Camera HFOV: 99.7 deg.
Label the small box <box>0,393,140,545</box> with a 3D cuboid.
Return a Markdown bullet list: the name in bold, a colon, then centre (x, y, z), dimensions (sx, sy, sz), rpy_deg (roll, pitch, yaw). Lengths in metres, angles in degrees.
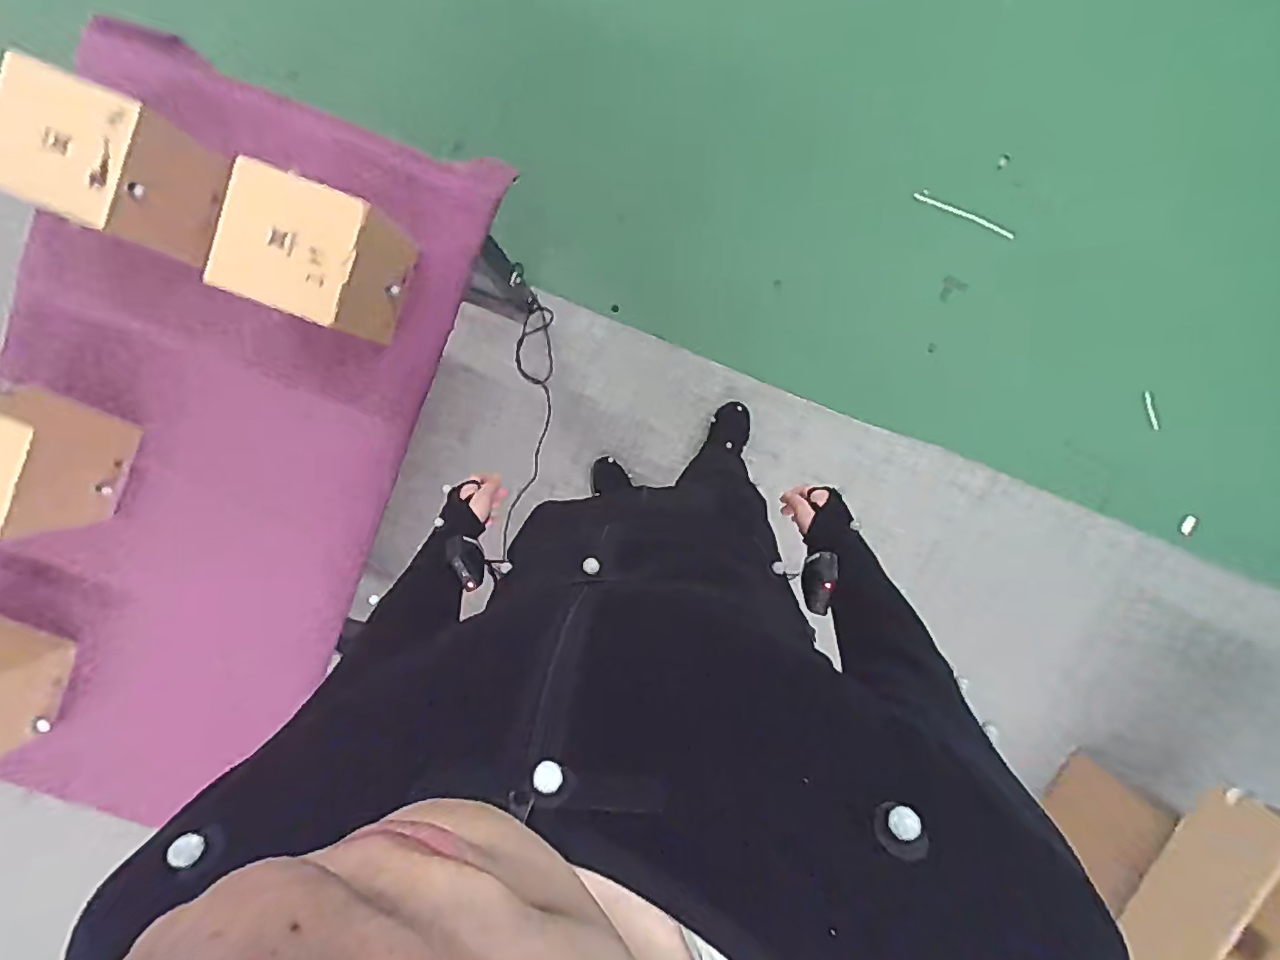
- **small box**: centre (-0.906, -0.023, 0.787), dimensions (0.179, 0.176, 0.168), rpy_deg (23, 95, -5)

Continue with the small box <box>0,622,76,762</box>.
- **small box**: centre (-1.031, 0.332, 0.816), dimensions (0.179, 0.176, 0.168), rpy_deg (22, 94, -5)

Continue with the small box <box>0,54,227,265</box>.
- **small box**: centre (-0.737, -0.423, 0.750), dimensions (0.179, 0.176, 0.168), rpy_deg (22, 96, -4)

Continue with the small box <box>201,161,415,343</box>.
- **small box**: centre (-0.455, -0.305, 0.768), dimensions (0.179, 0.176, 0.168), rpy_deg (20, 96, -4)
